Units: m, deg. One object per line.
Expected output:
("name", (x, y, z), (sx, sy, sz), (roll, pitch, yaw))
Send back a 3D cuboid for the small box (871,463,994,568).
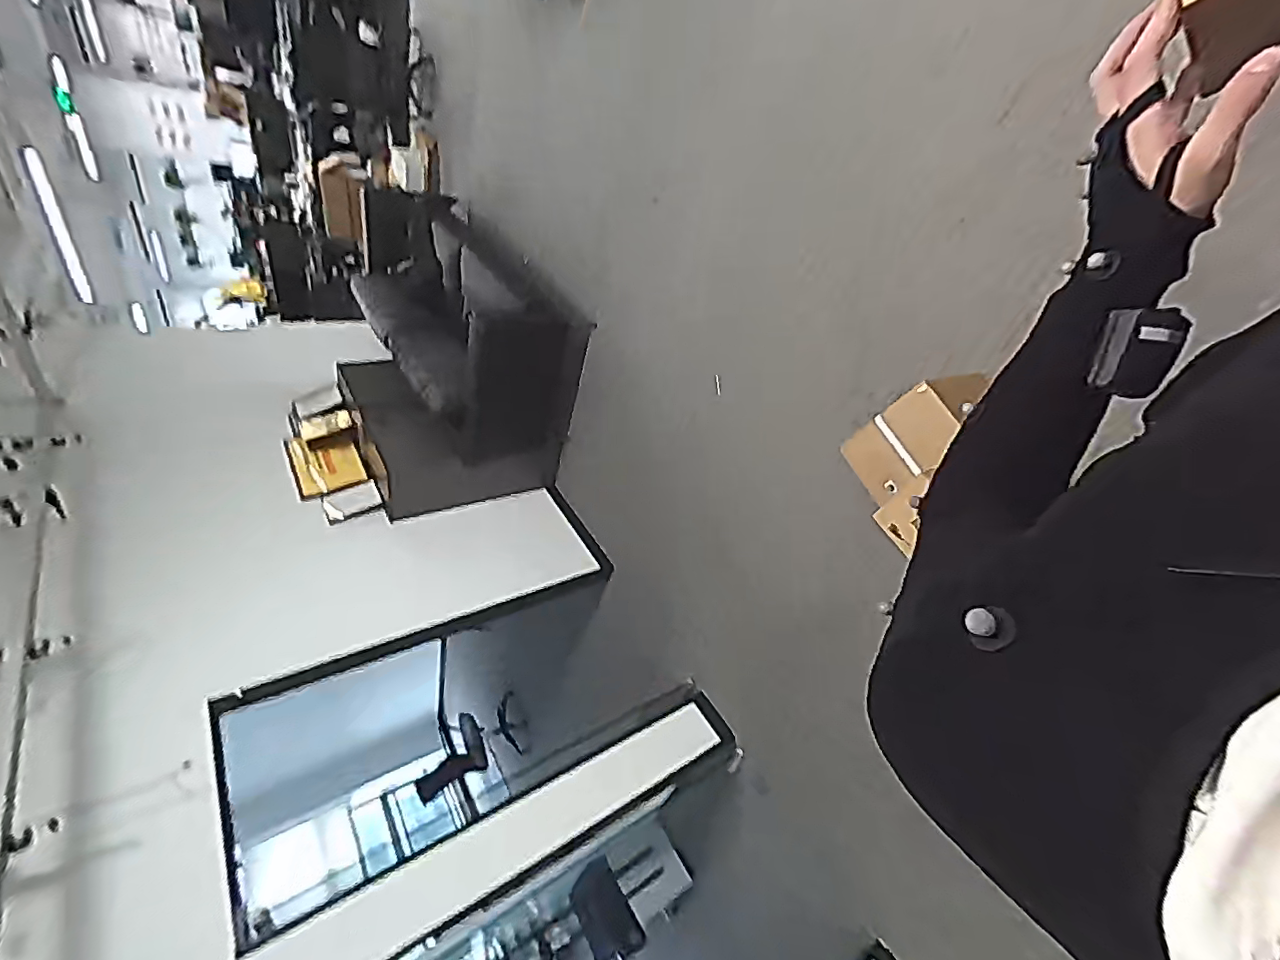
("small box", (0.701, 0.079, 1.287), (0.168, 0.176, 0.179), (58, 139, 26))
